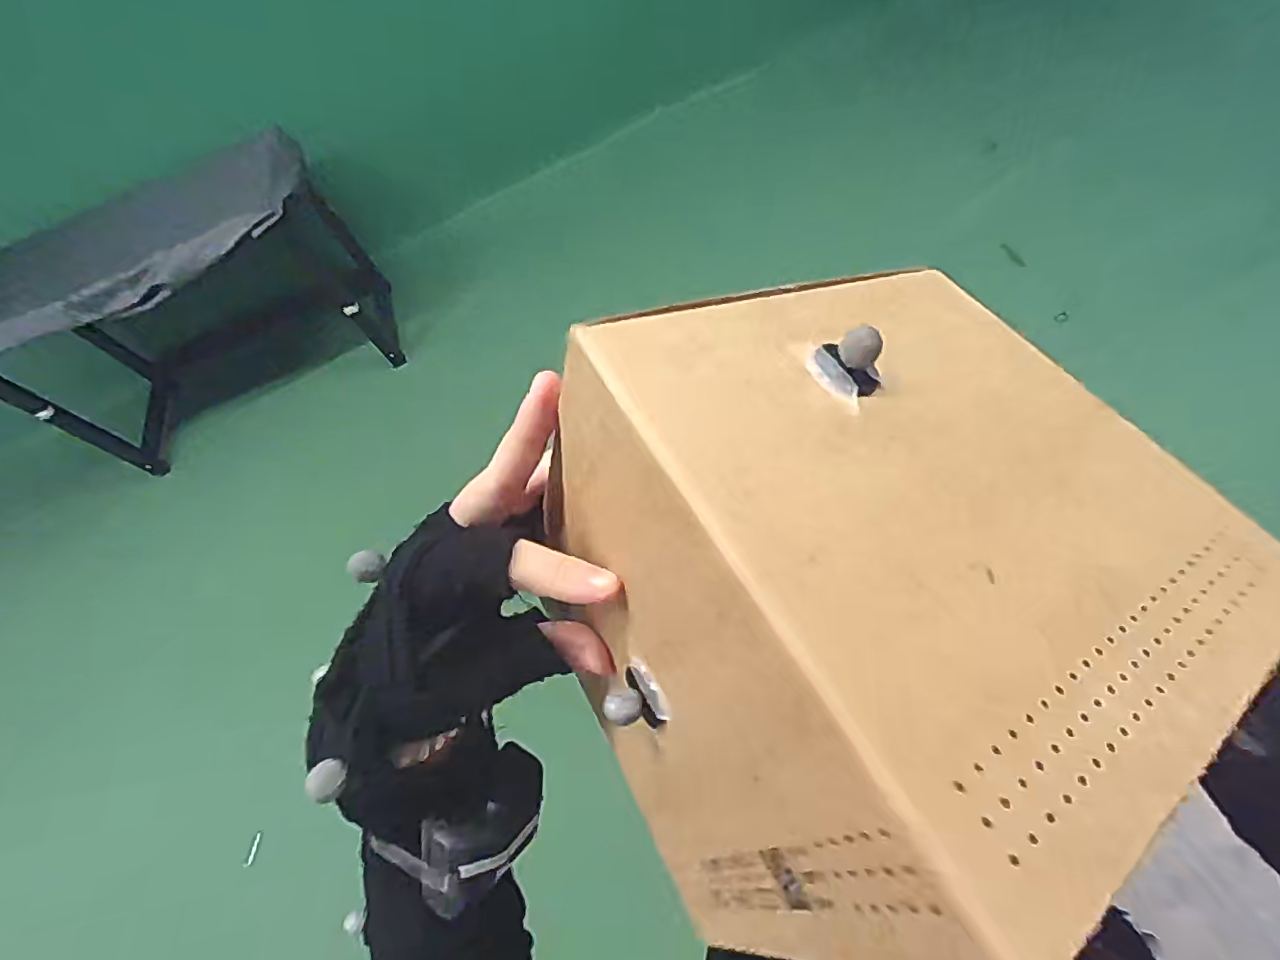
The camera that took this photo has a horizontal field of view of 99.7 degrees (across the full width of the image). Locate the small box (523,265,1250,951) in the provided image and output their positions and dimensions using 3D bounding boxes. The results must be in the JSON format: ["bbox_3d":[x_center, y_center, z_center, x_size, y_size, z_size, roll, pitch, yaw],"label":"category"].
[{"bbox_3d":[0.070,0.042,0.223,0.179,0.168,0.176,-20,63,-28],"label":"small box"}]
